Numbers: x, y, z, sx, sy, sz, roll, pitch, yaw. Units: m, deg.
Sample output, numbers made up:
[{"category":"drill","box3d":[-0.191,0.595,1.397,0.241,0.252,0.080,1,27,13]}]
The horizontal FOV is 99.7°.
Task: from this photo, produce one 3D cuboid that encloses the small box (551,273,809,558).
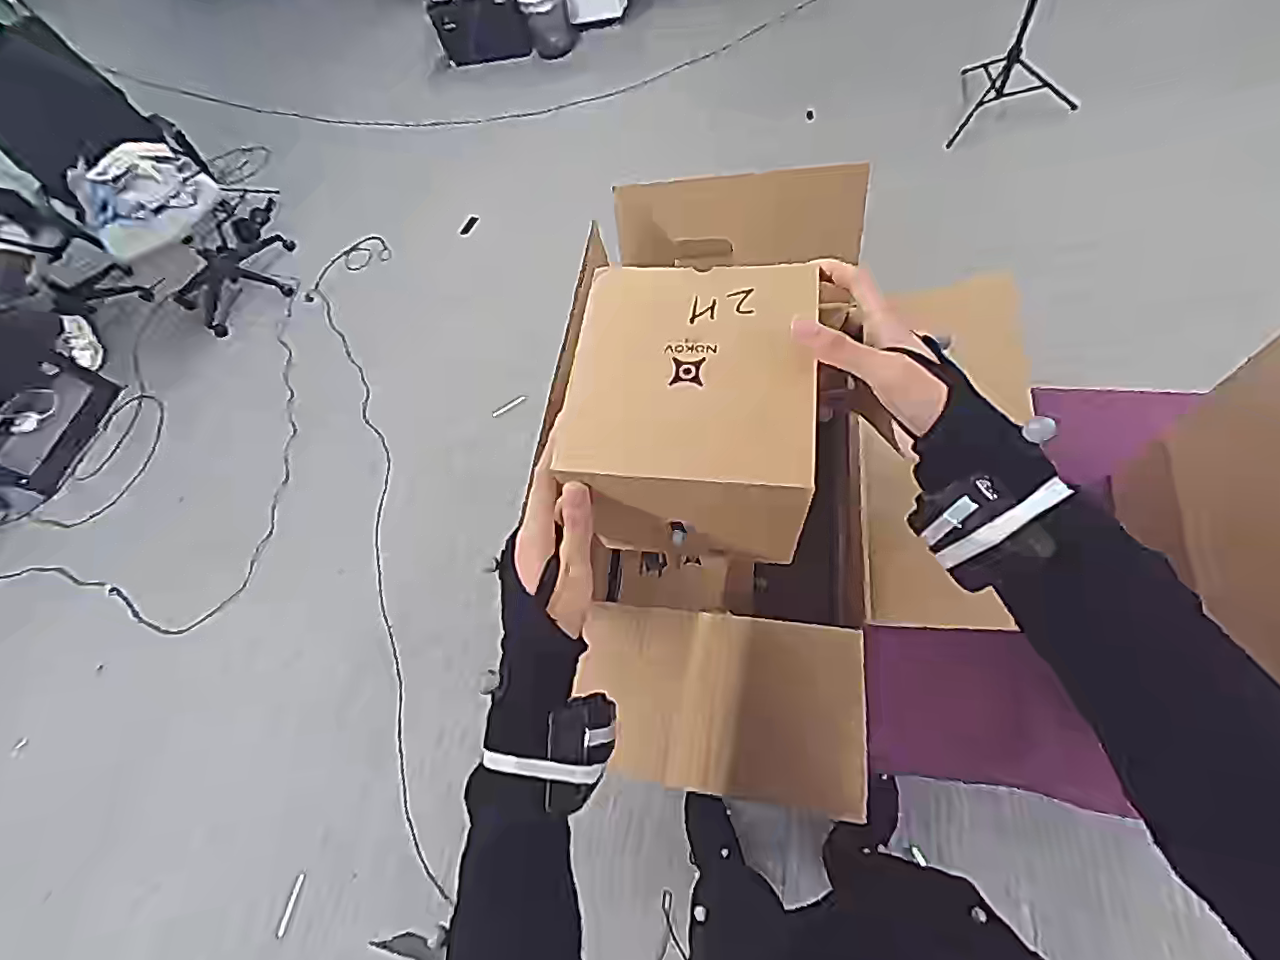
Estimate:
[{"category":"small box","box3d":[0.045,-0.043,0.448,0.168,0.176,0.179,4,66,12]}]
